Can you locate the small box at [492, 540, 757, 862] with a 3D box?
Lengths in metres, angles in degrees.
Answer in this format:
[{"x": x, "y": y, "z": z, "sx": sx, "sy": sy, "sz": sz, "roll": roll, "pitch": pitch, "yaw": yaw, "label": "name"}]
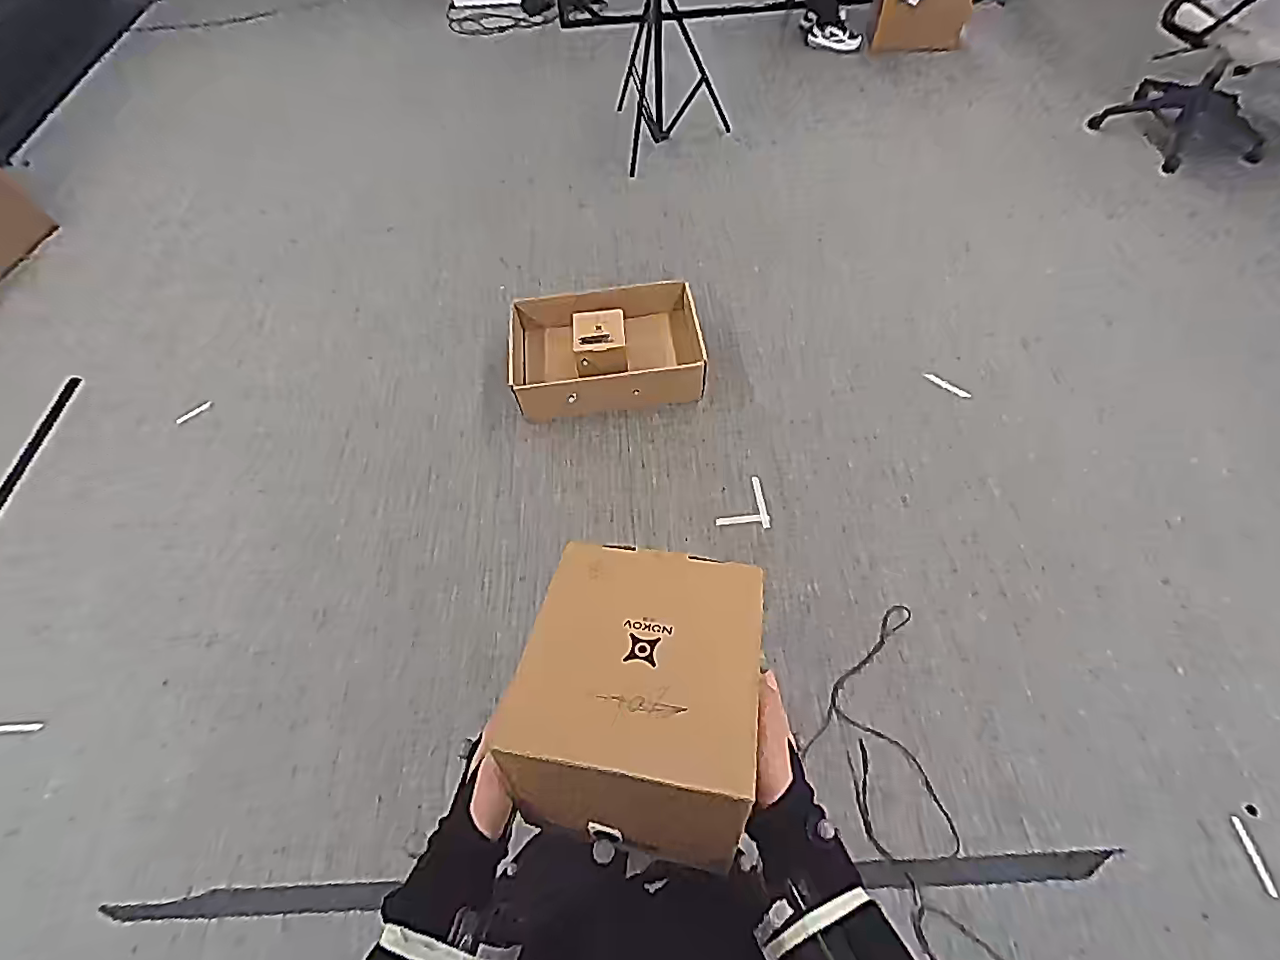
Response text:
[{"x": 0.000, "y": 0.177, "z": 0.443, "sx": 0.168, "sy": 0.176, "sz": 0.179, "roll": 6, "pitch": 43, "yaw": 8, "label": "small box"}]
